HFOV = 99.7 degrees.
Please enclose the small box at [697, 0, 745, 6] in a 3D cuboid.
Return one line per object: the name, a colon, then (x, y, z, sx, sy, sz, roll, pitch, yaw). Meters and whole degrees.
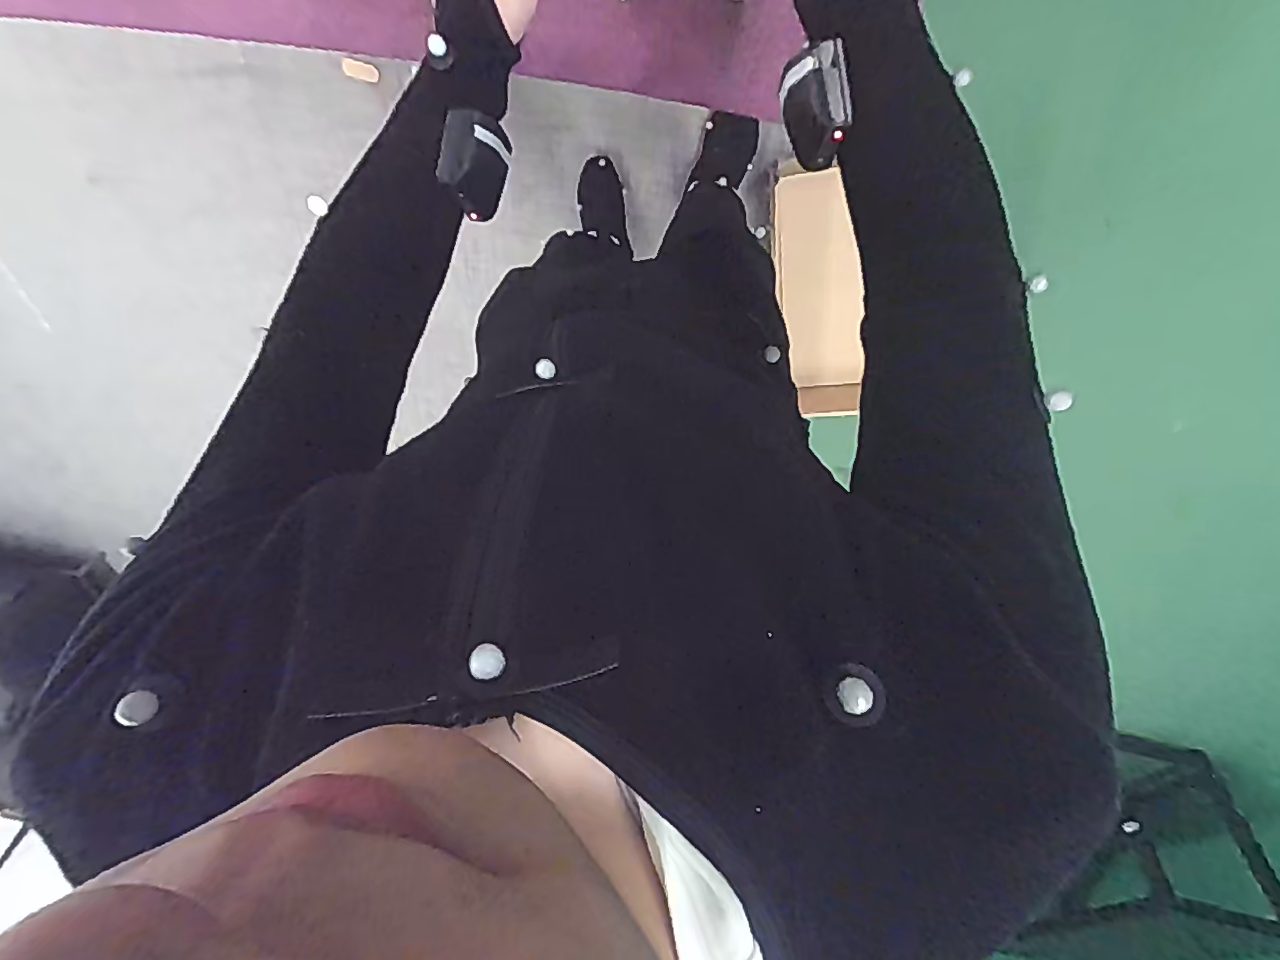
small box: (0.024, -0.501, 0.423, 0.168, 0.176, 0.179, 12, 131, 3)
